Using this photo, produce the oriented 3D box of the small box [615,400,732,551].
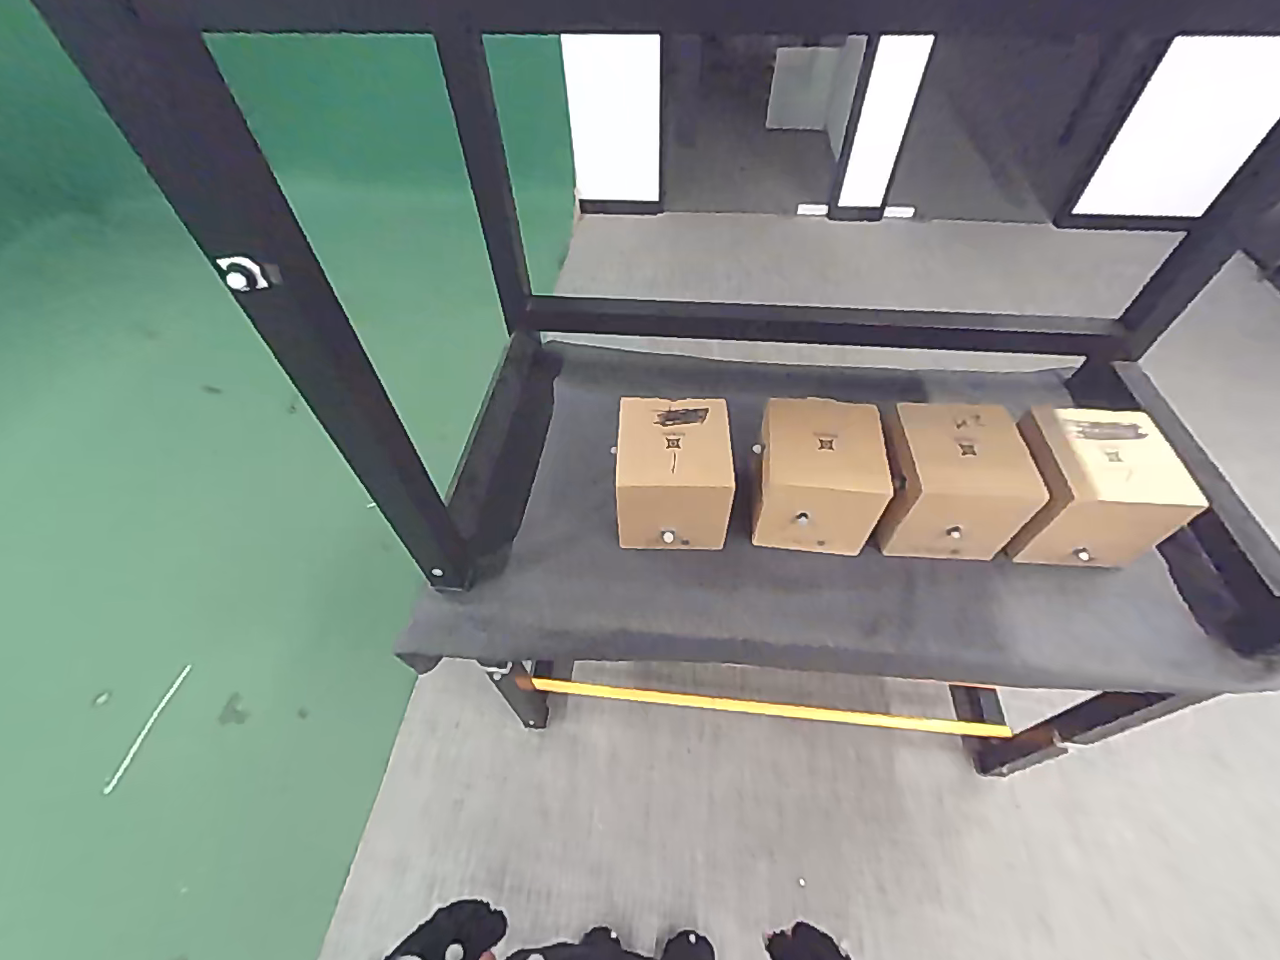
[{"bbox_3d":[0.048,-0.006,0.859,0.168,0.176,0.179,0,52,1],"label":"small box"}]
